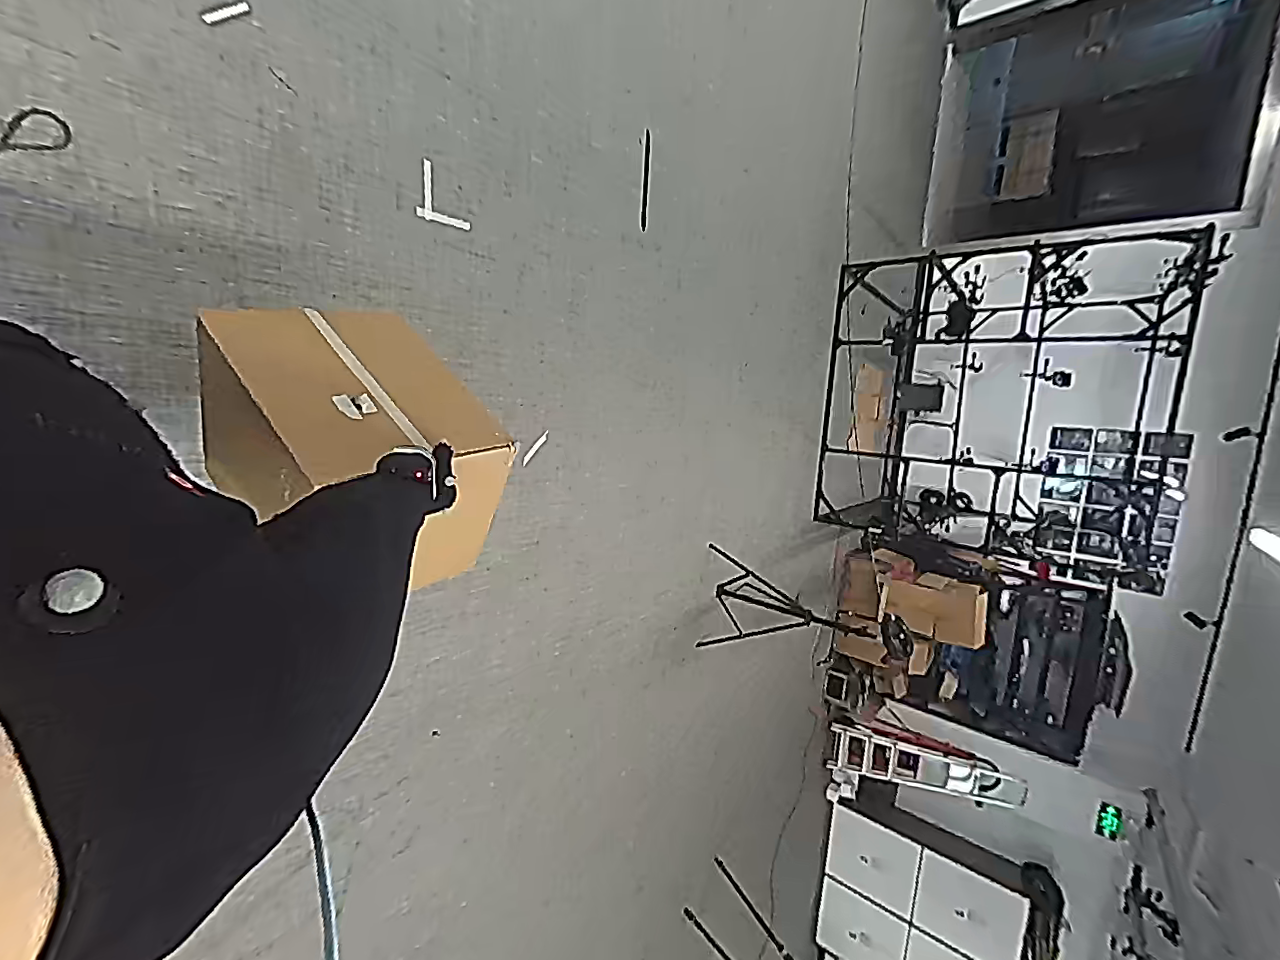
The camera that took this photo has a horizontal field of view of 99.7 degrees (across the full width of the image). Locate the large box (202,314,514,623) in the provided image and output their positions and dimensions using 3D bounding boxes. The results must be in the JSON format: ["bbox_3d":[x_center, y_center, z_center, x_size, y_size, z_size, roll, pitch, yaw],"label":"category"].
[{"bbox_3d":[-0.498,-0.041,0.937,0.320,0.408,0.320,-19,147,-49],"label":"large box"}]
